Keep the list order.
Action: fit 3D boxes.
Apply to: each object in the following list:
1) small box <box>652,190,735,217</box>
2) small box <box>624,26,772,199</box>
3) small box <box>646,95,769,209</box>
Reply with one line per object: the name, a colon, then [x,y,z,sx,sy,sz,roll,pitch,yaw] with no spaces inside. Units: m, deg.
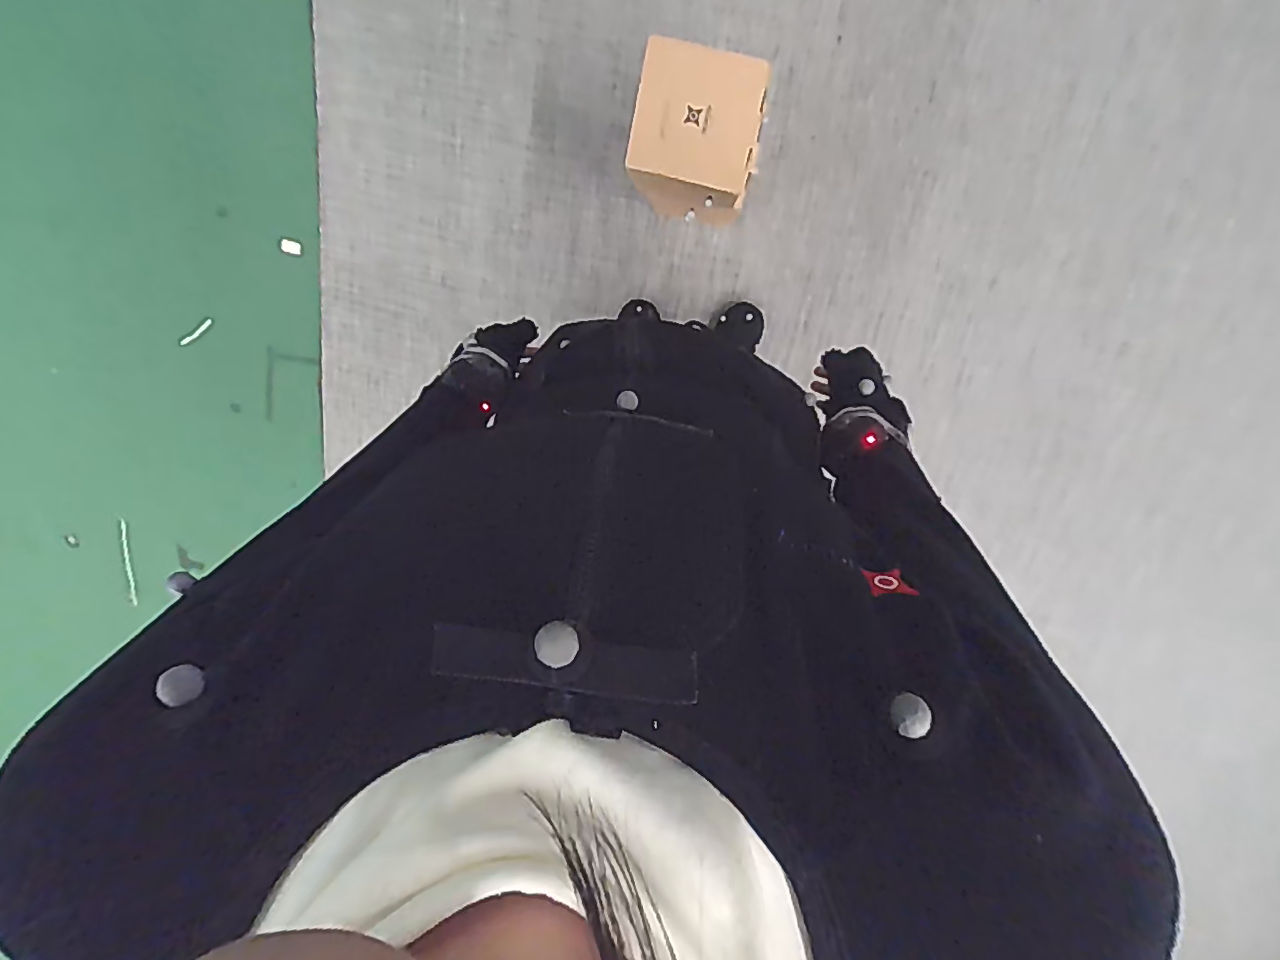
small box: [0.130,-0.662,1.127,0.179,0.176,0.168,16,110,0]
small box: [0.086,-0.545,0.828,0.179,0.176,0.168,14,111,2]
small box: [0.115,-0.601,0.979,0.179,0.176,0.168,14,111,0]
